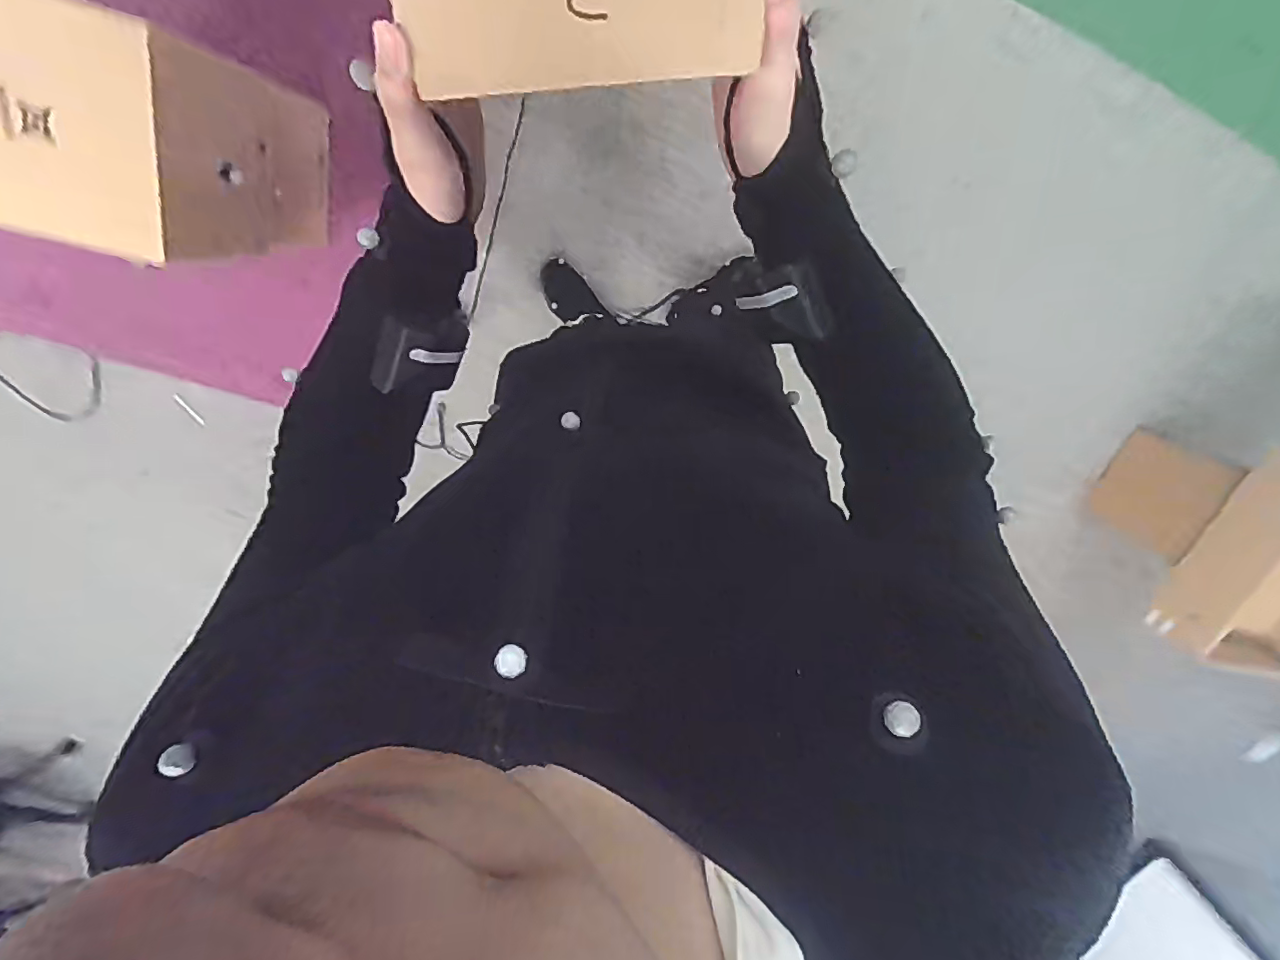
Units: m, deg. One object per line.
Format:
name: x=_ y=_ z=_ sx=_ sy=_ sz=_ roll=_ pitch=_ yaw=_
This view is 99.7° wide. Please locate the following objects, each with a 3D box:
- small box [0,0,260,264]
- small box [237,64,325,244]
small box: x=-0.453 y=-0.296 z=0.454 sx=0.179 sy=0.176 sz=0.168 roll=13 pitch=113 yaw=-11
small box: x=-0.483 y=-0.372 z=0.600 sx=0.179 sy=0.176 sz=0.168 roll=12 pitch=115 yaw=-10
